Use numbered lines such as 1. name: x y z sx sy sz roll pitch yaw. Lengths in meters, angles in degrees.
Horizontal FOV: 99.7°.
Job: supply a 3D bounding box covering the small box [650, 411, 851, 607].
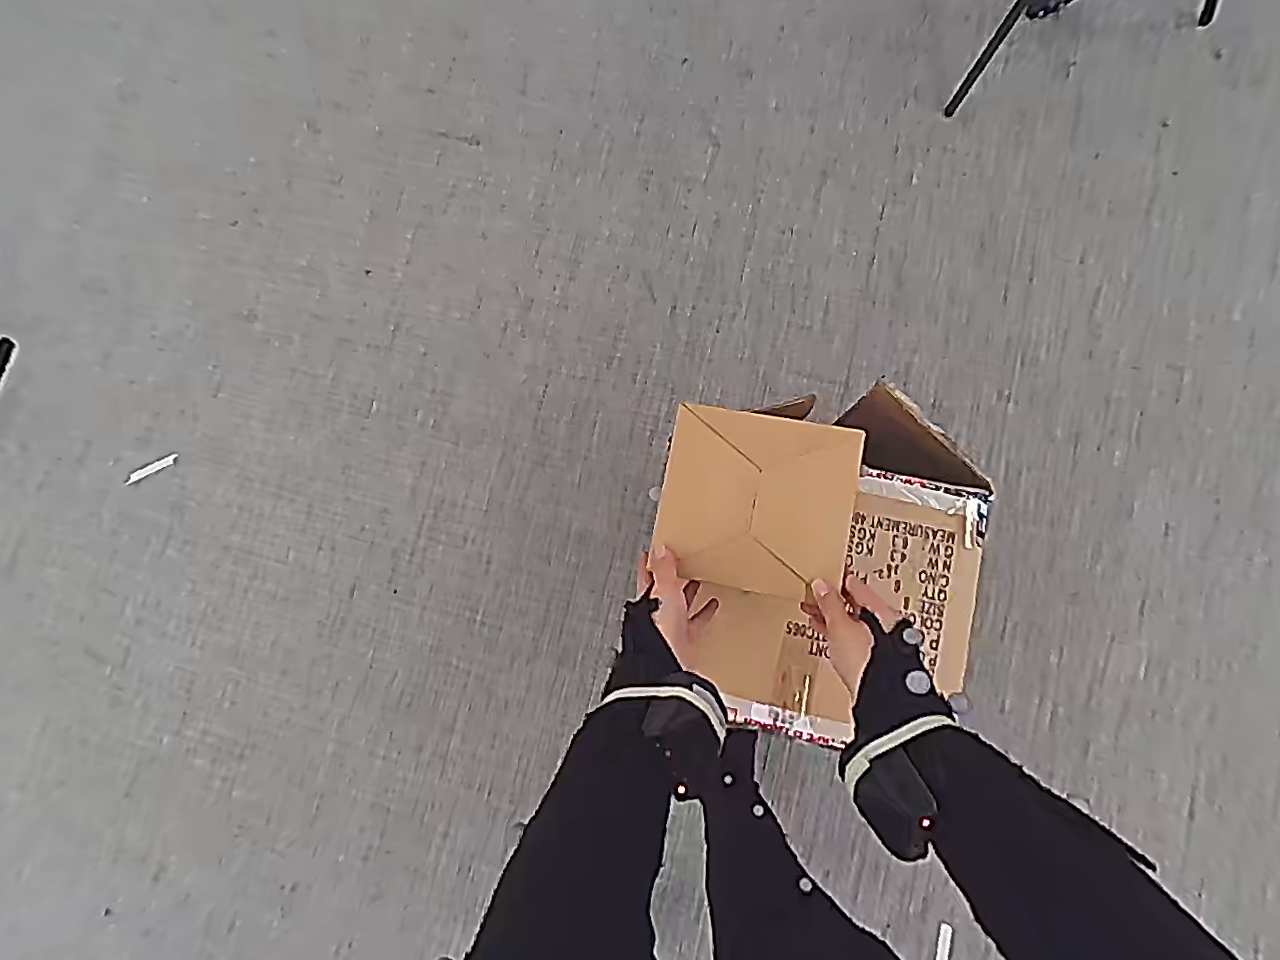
1. small box: 0.116 0.033 0.584 0.179 0.176 0.168 11 85 8
